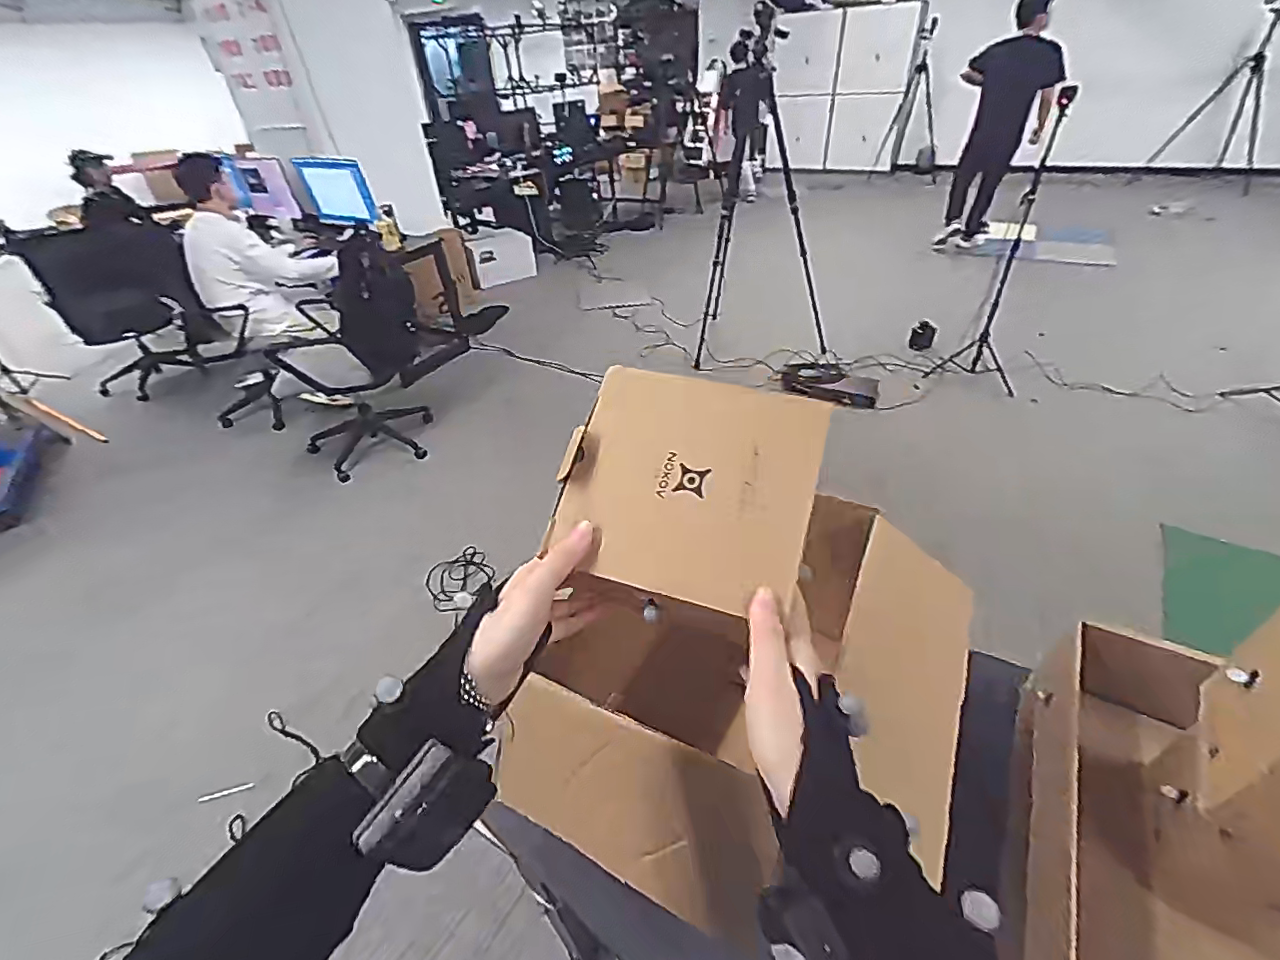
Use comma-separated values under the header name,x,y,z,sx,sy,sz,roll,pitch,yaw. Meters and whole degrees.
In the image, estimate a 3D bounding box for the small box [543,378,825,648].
name,x,y,z,sx,sy,sz,roll,pitch,yaw
small box,0.044,0.038,0.469,0.179,0.176,0.168,13,70,13

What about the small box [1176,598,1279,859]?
name,x,y,z,sx,sy,sz,roll,pitch,yaw
small box,0.625,0.246,0.475,0.179,0.176,0.168,24,47,31
